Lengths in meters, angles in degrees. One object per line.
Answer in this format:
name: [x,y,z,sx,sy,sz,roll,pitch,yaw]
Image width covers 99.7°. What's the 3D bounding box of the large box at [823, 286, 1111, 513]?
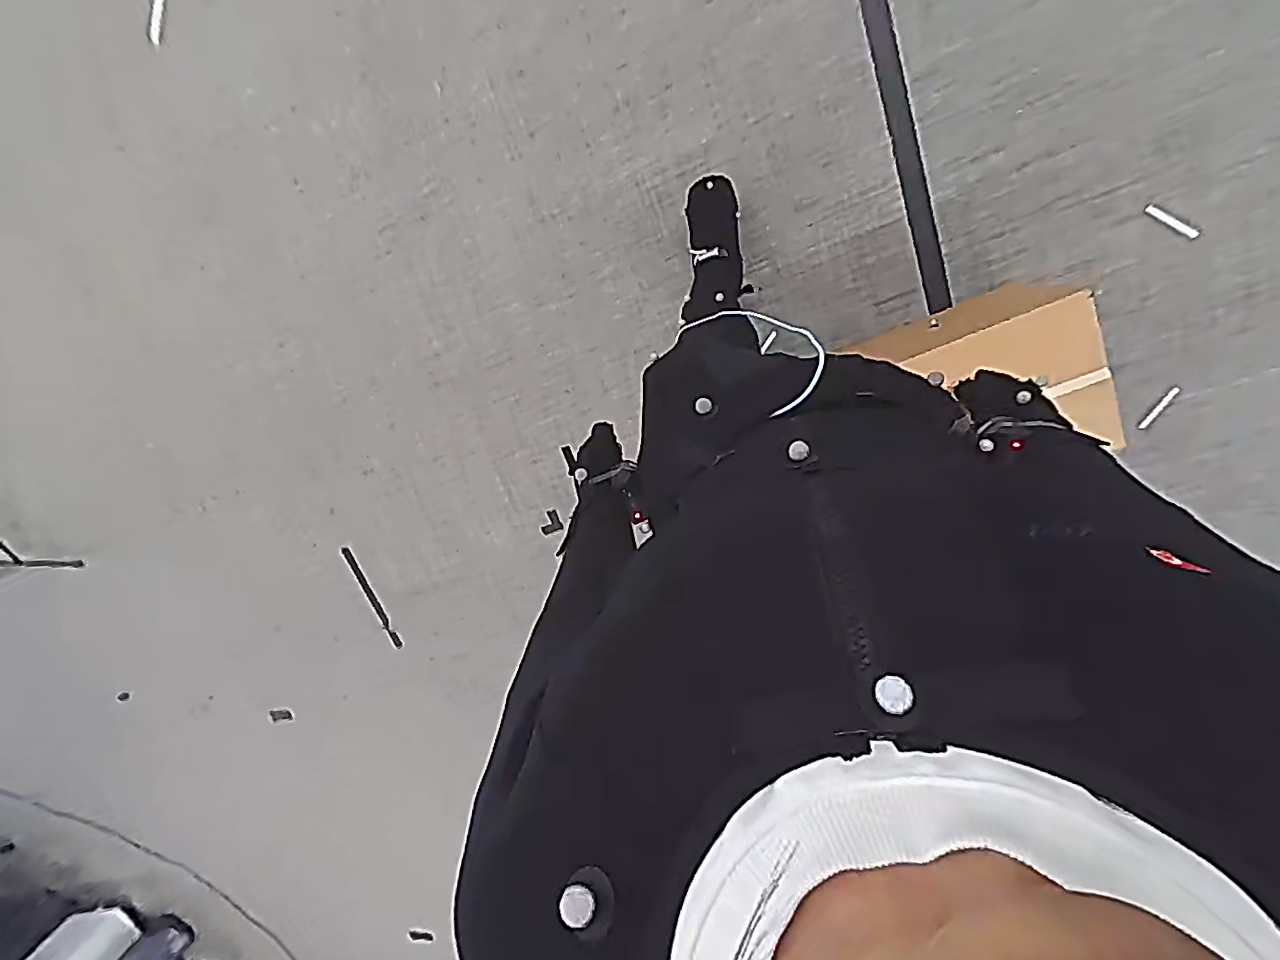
large box: [0.662,-0.182,1.162,0.408,0.320,0.320,-21,106,16]
